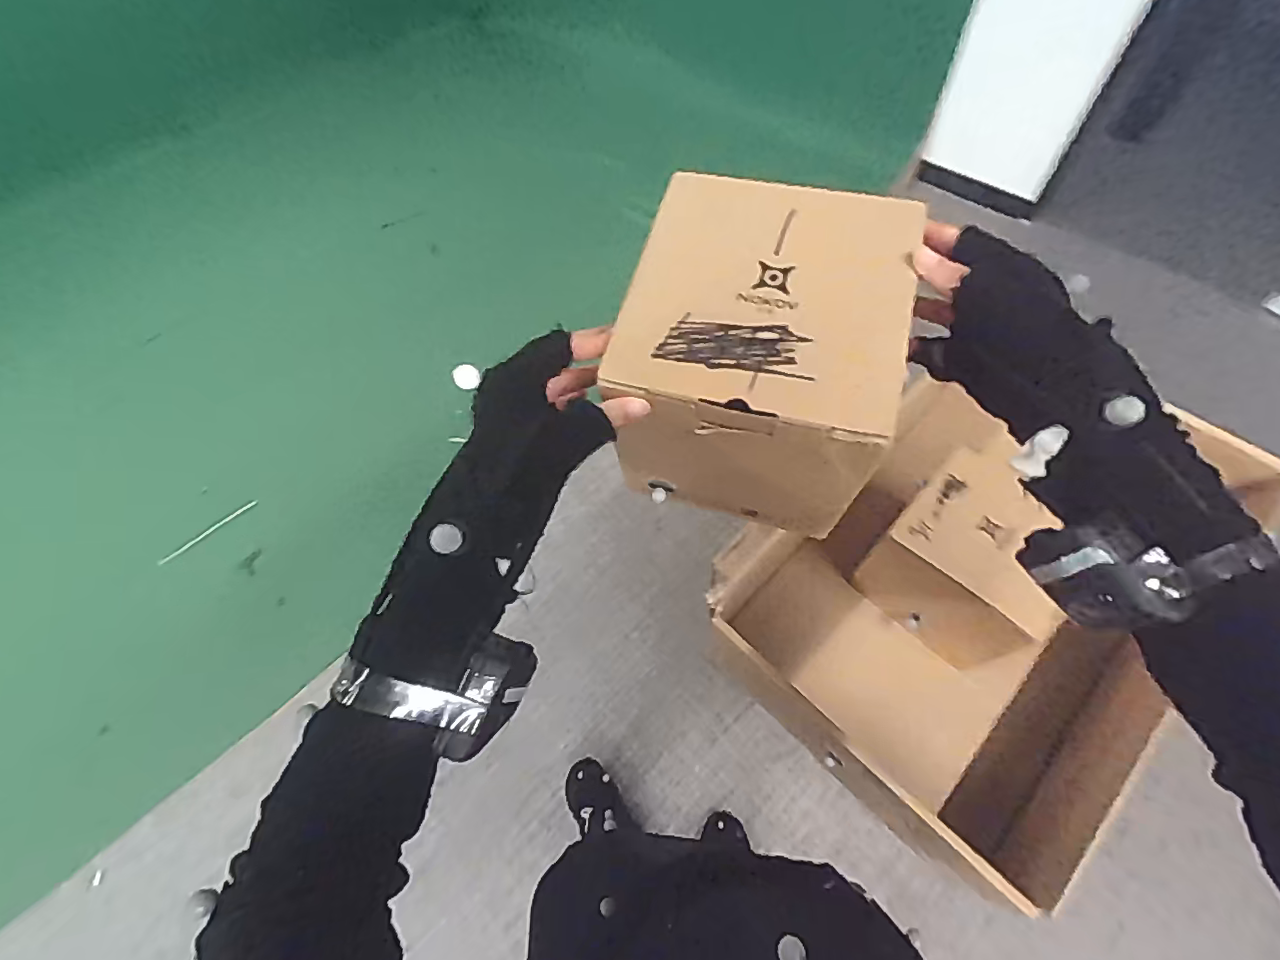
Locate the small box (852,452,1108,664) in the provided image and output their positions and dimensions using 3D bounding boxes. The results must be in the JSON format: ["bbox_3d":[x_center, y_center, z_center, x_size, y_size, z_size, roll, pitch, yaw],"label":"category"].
[{"bbox_3d":[0.400,0.105,0.668,0.168,0.176,0.179,-41,66,-19],"label":"small box"}]
